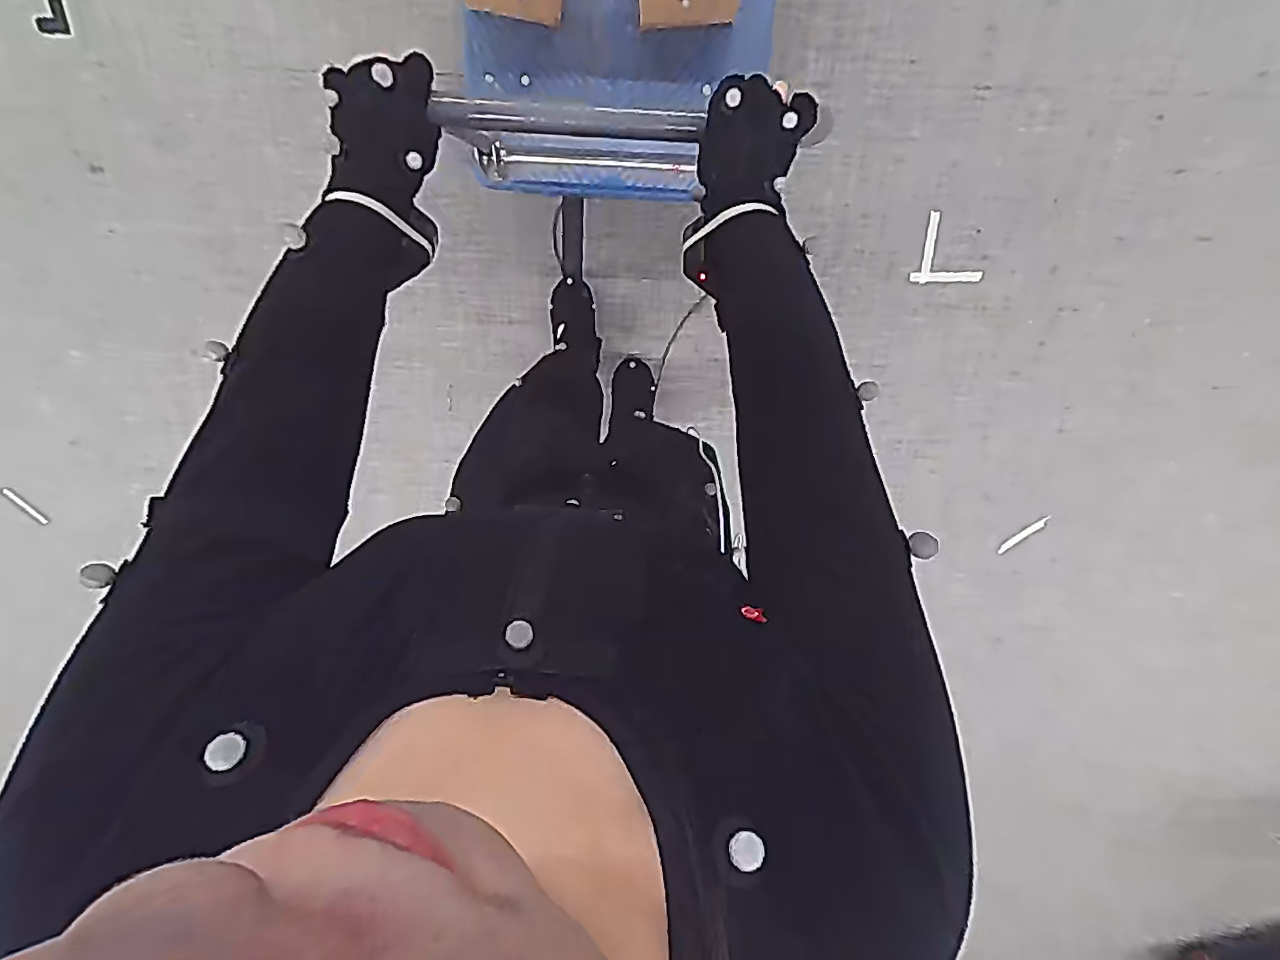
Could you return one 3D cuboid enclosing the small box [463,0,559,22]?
[{"bbox_3d":[-0.227,-0.900,0.893,0.179,0.176,0.168,8,112,-4],"label":"small box"}]

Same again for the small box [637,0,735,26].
[{"bbox_3d":[0.077,-0.886,0.893,0.179,0.176,0.168,-2,112,2],"label":"small box"}]
